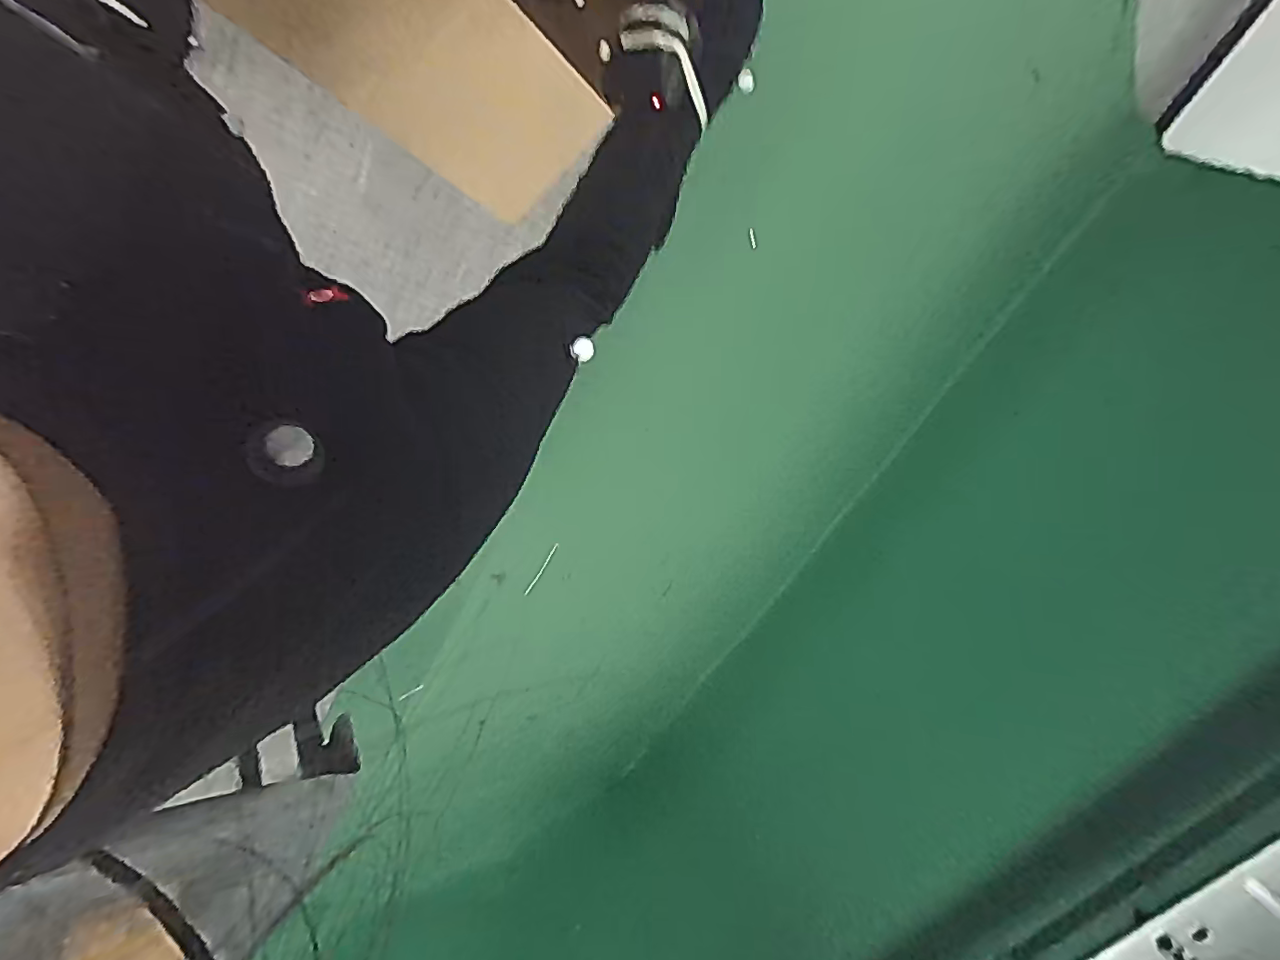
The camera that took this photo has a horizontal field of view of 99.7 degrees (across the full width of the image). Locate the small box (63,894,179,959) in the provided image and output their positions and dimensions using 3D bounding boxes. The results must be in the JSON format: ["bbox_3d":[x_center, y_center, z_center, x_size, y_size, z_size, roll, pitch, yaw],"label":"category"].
[{"bbox_3d":[-1.049,0.994,1.092,0.168,0.176,0.179,4,123,-45],"label":"small box"}]
